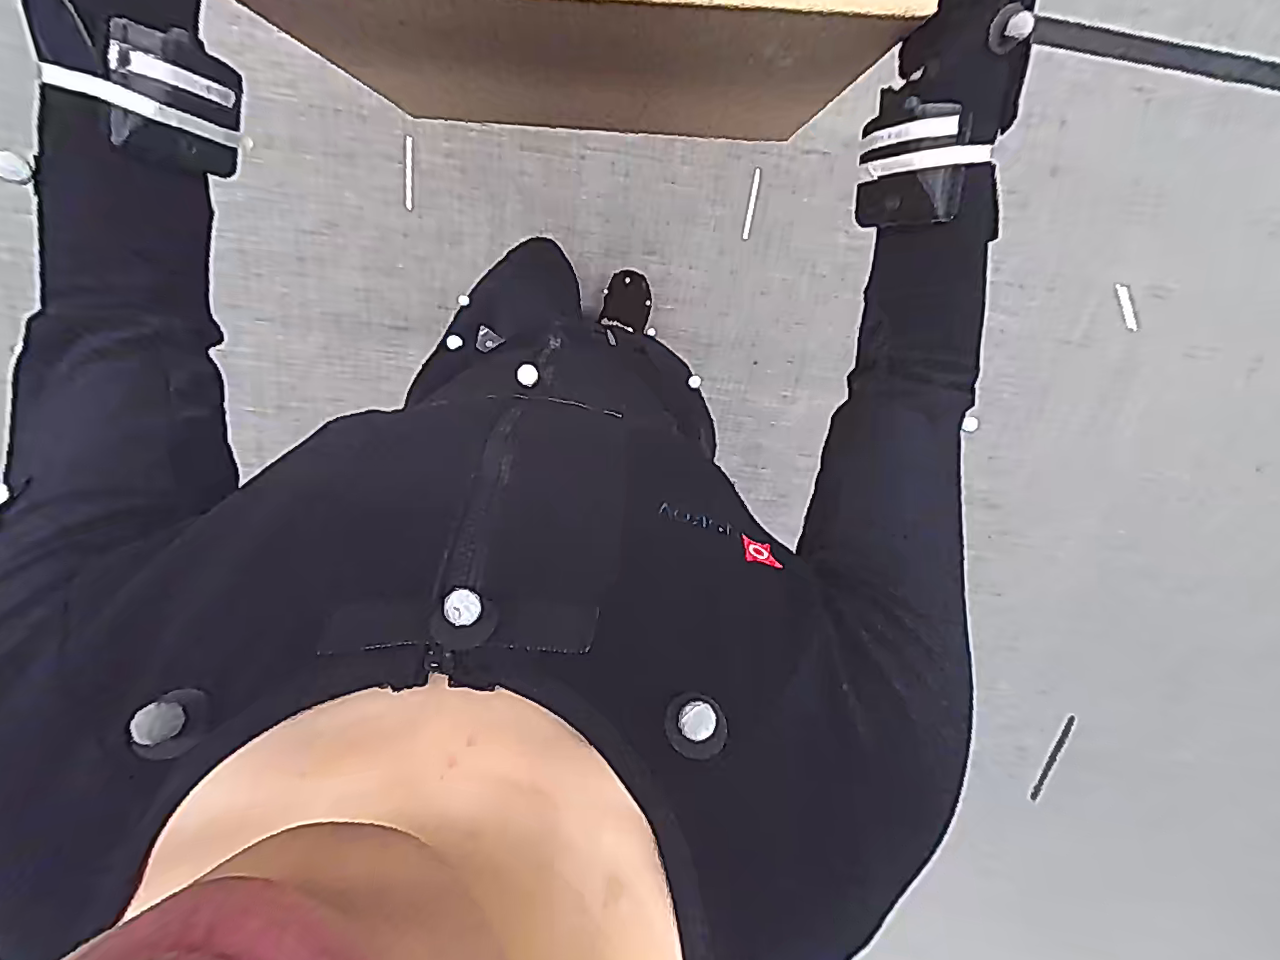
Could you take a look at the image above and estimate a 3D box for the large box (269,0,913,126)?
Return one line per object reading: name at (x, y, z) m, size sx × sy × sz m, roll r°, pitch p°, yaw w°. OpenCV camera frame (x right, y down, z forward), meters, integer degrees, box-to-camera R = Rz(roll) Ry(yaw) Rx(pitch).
large box at (-0.035, -0.471, 0.385) m, size 0.408 × 0.320 × 0.320 m, roll 2°, pitch 112°, yaw -2°
